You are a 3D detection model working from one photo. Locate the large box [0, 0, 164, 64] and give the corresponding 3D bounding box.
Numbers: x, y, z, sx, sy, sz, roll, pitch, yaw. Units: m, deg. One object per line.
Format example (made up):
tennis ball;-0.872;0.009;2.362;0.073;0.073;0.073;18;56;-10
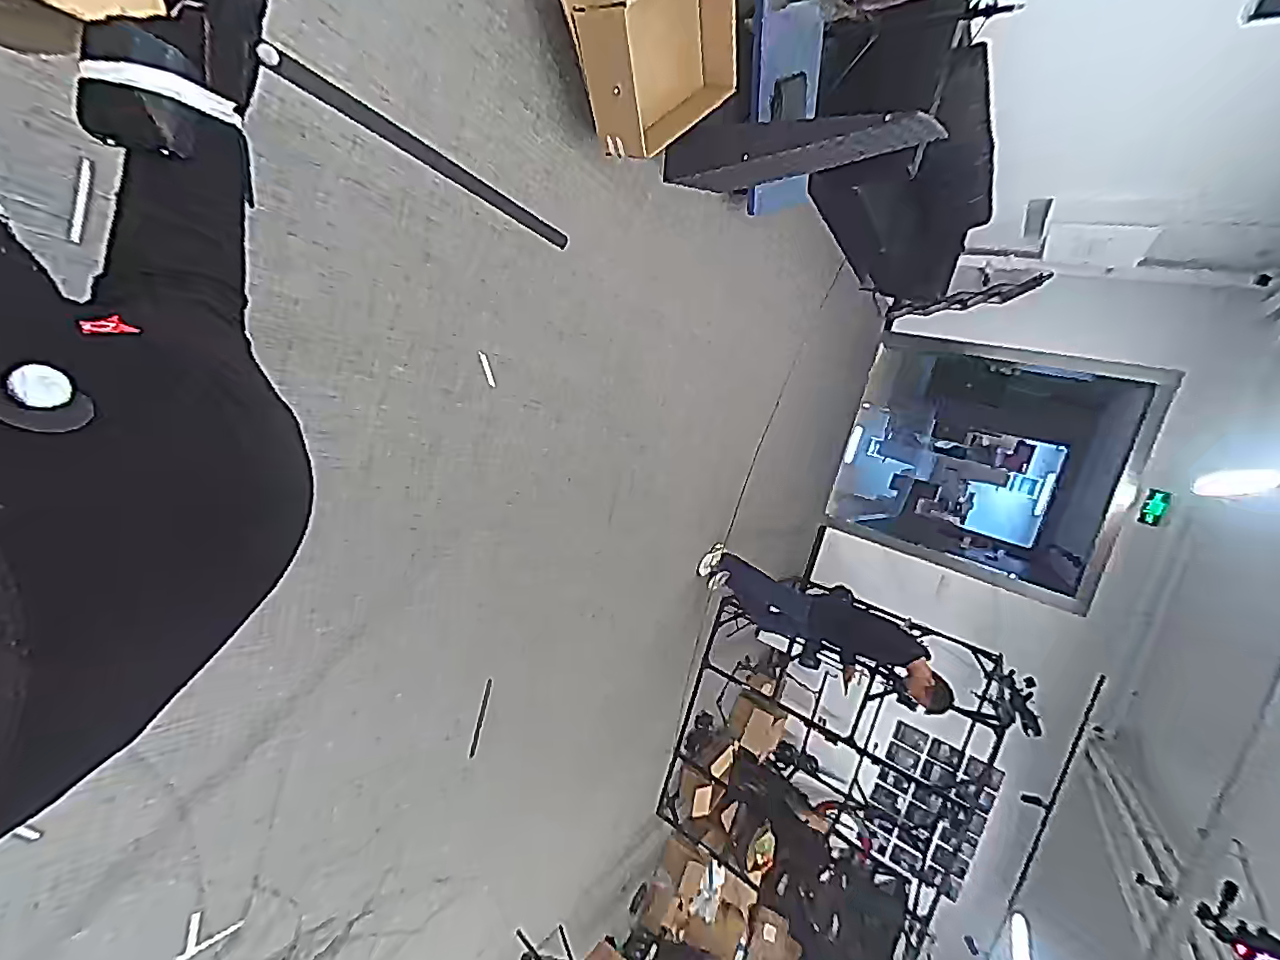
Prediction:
large box;-0.507;-0.454;0.225;0.408;0.320;0.320;-8;119;-59
